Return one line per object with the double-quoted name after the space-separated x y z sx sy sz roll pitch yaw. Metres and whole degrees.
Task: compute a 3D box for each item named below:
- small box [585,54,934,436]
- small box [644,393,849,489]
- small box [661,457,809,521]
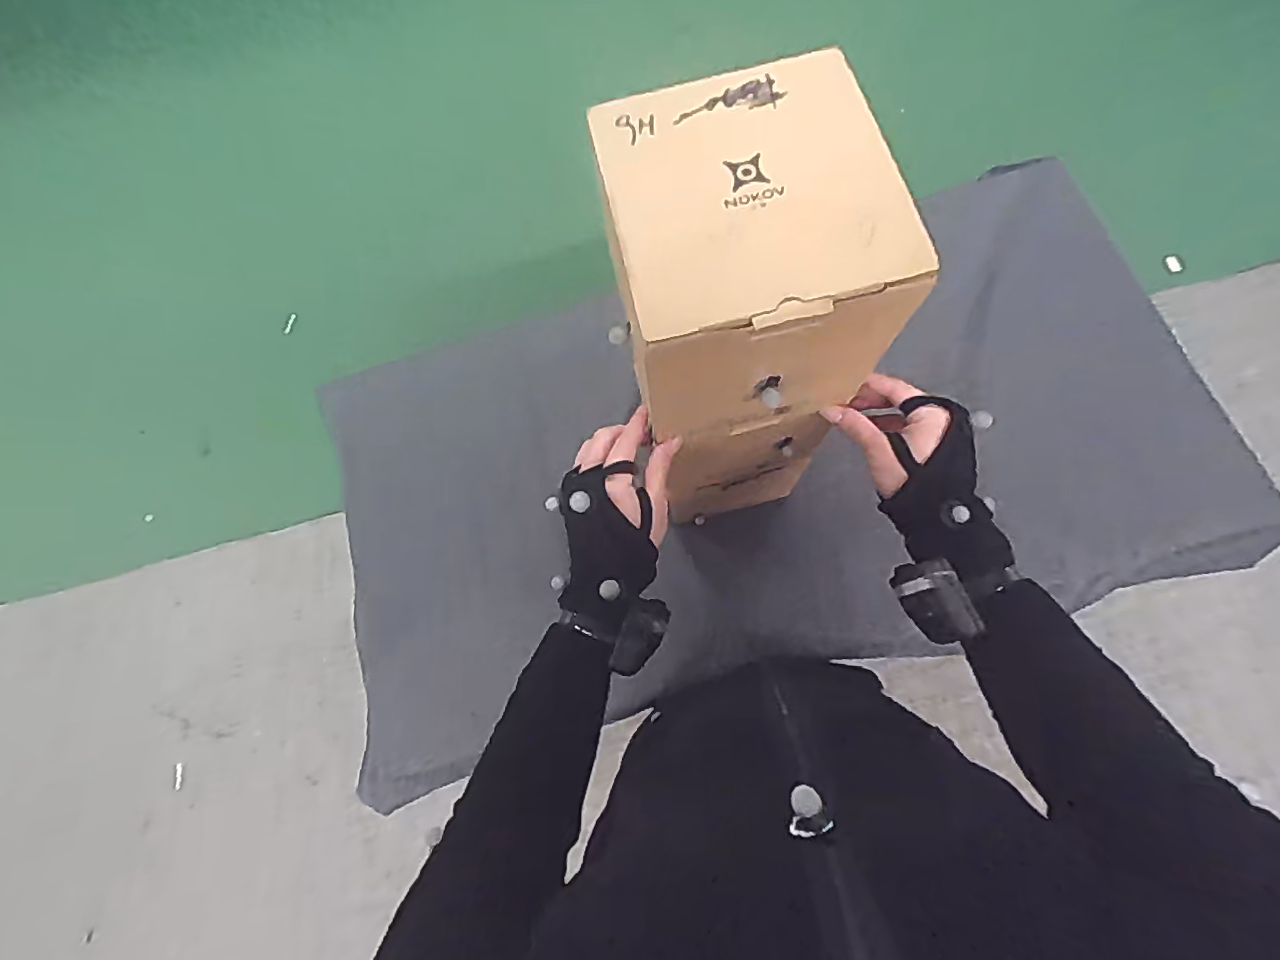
0.068 -0.143 0.388 0.168 0.176 0.179 -13 74 0 "small box"
0.084 -0.100 0.546 0.168 0.176 0.179 -14 72 1 "small box"
0.101 -0.054 0.700 0.168 0.176 0.179 -15 72 2 "small box"
